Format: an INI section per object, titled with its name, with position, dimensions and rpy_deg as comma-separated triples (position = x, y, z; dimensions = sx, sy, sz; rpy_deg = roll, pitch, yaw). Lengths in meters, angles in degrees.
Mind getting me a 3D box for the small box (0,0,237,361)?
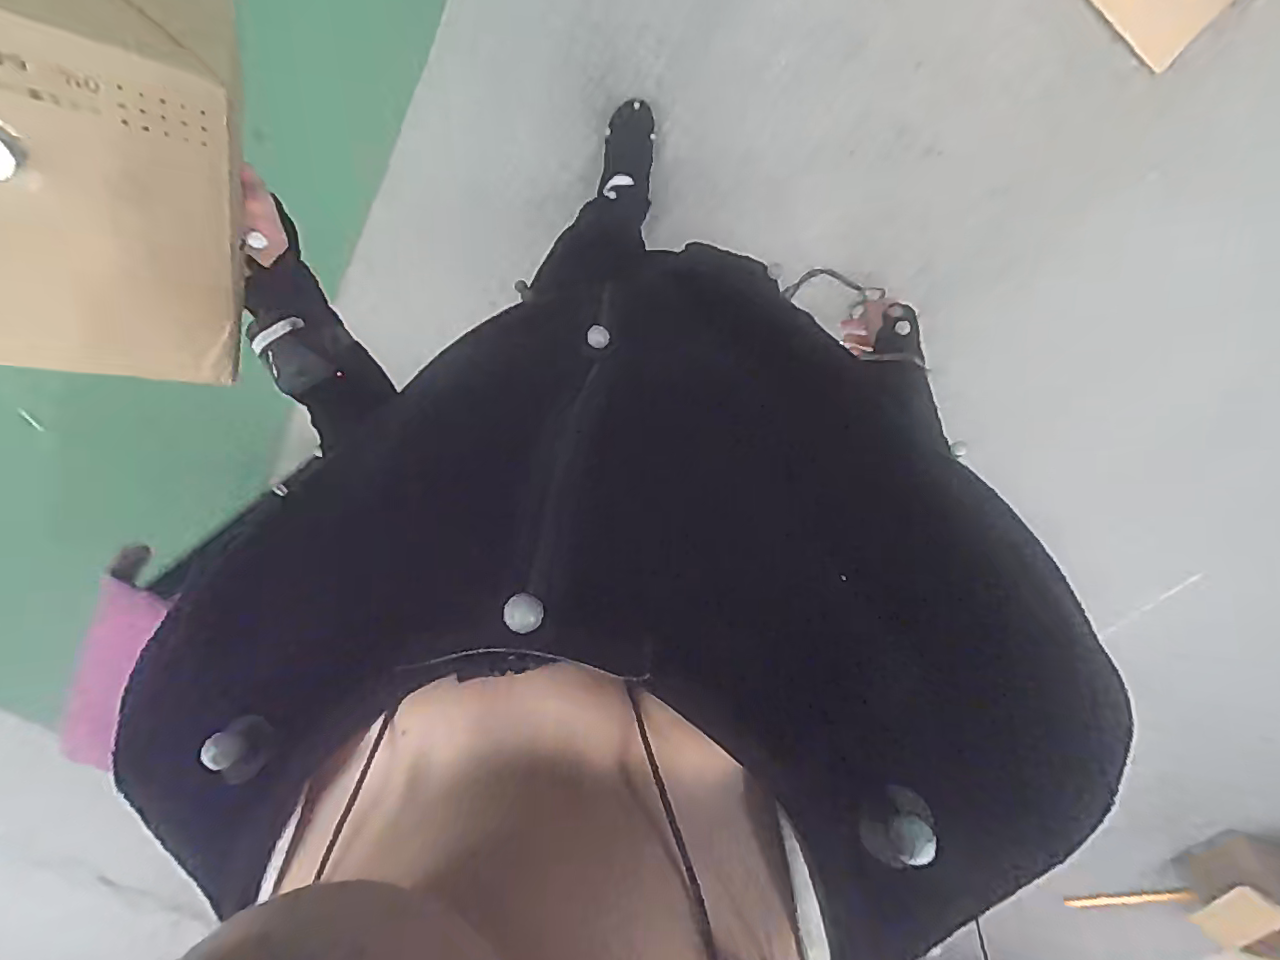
[small box]
position = -0.299, -0.188, 0.261
dimensions = 0.168, 0.179, 0.176
rpy_deg = 1, 139, -35
